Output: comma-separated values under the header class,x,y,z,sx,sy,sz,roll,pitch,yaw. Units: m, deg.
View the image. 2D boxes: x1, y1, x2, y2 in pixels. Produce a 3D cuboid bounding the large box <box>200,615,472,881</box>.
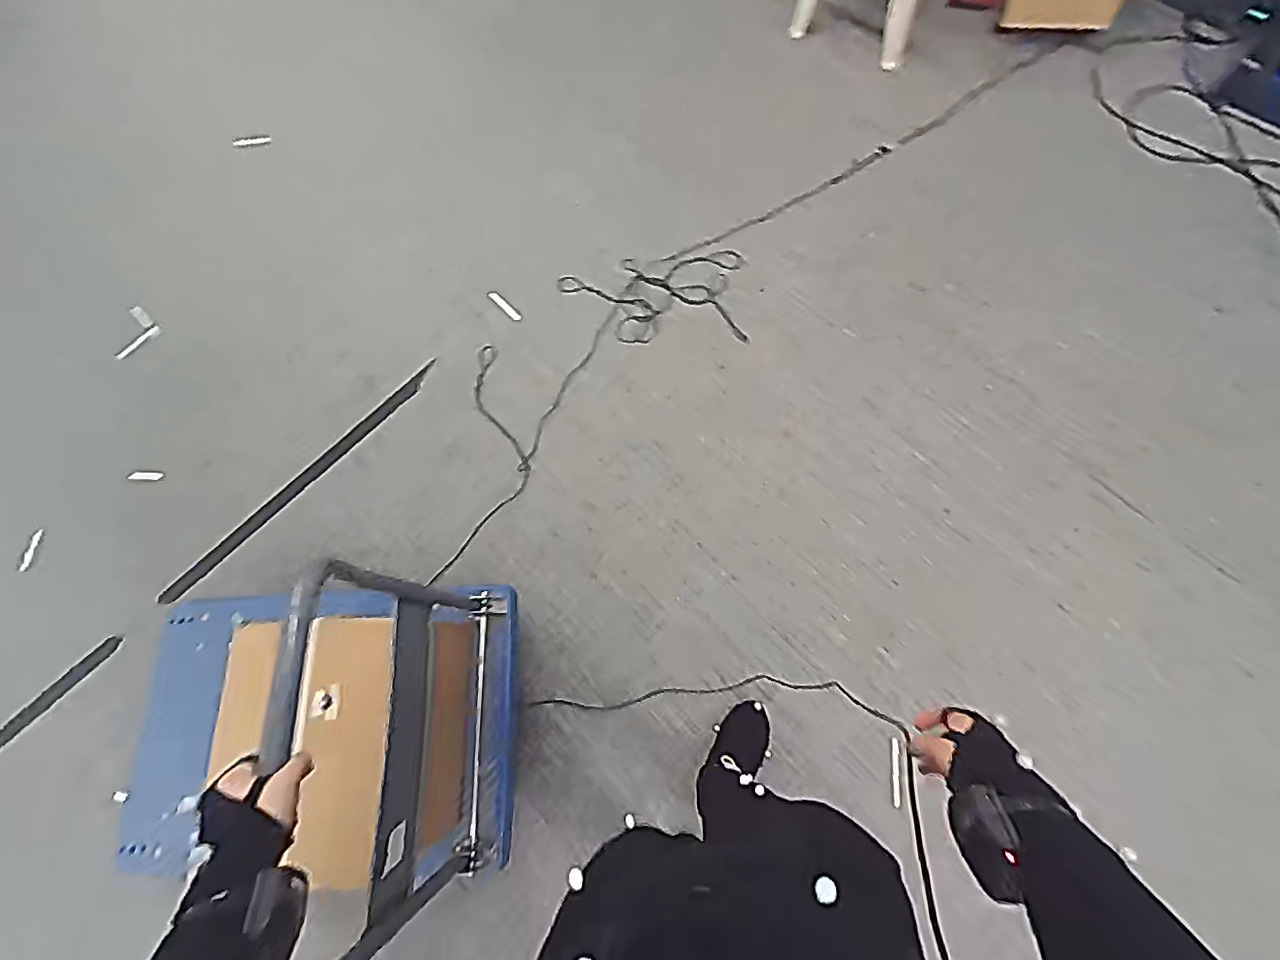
class,x,y,z,sx,sy,sz,roll,pitch,yaw
large box,-0.538,0.482,1.040,0.320,0.320,0.408,-3,72,5
